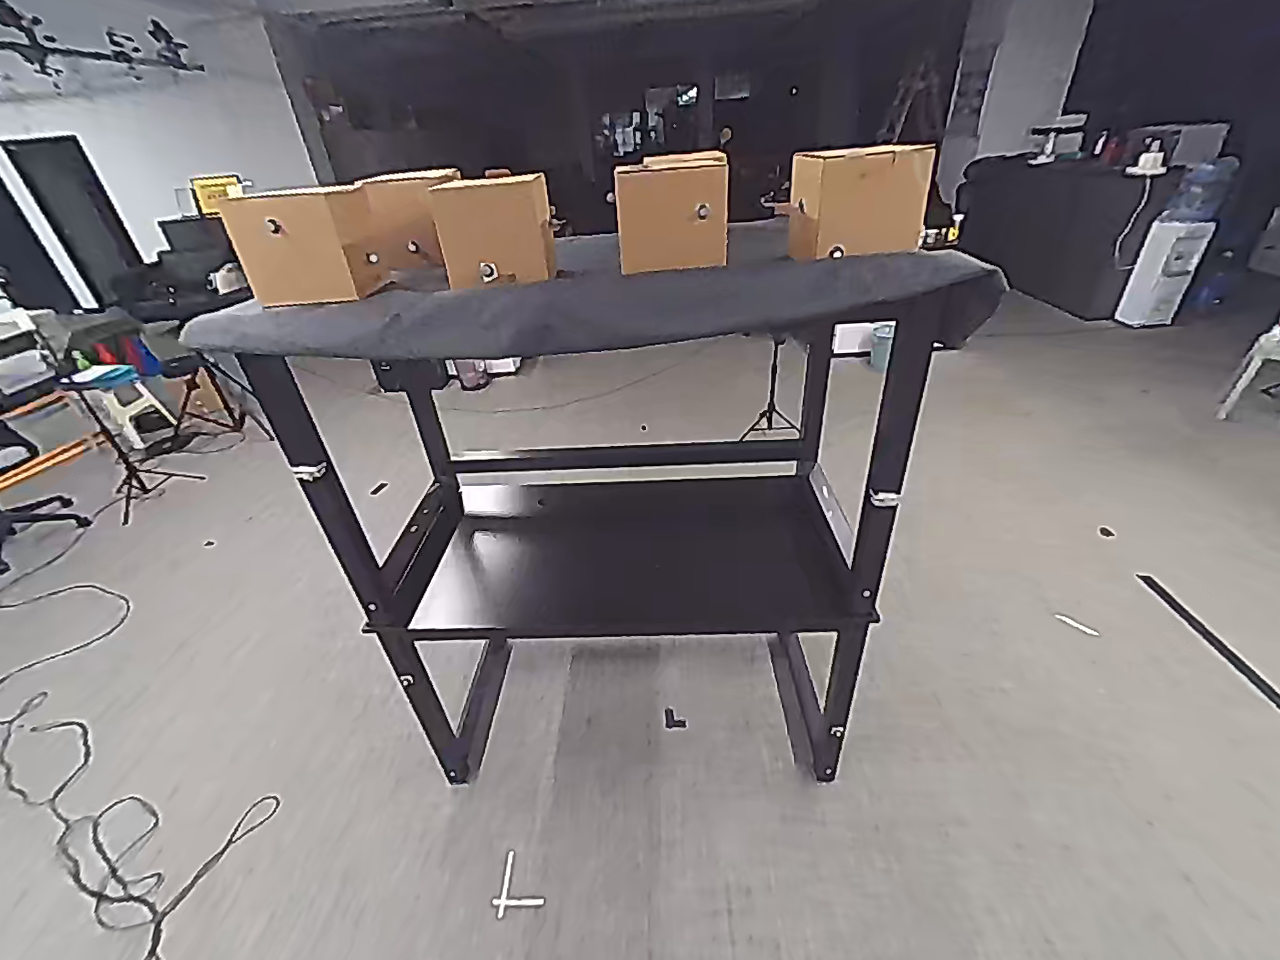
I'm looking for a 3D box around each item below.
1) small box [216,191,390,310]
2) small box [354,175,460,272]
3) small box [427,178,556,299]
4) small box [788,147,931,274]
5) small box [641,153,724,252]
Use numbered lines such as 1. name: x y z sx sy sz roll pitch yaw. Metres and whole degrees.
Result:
1. small box: -0.575 -0.404 0.952 0.179 0.176 0.168 -4 32 0
2. small box: -0.485 -0.564 1.190 0.179 0.176 0.168 -3 33 1
3. small box: -0.244 -0.419 0.938 0.168 0.176 0.179 -6 32 0
4. small box: 0.351 -0.447 0.902 0.168 0.176 0.179 -4 32 1
5. small box: 0.092 -0.597 1.169 0.168 0.176 0.179 -4 33 3
